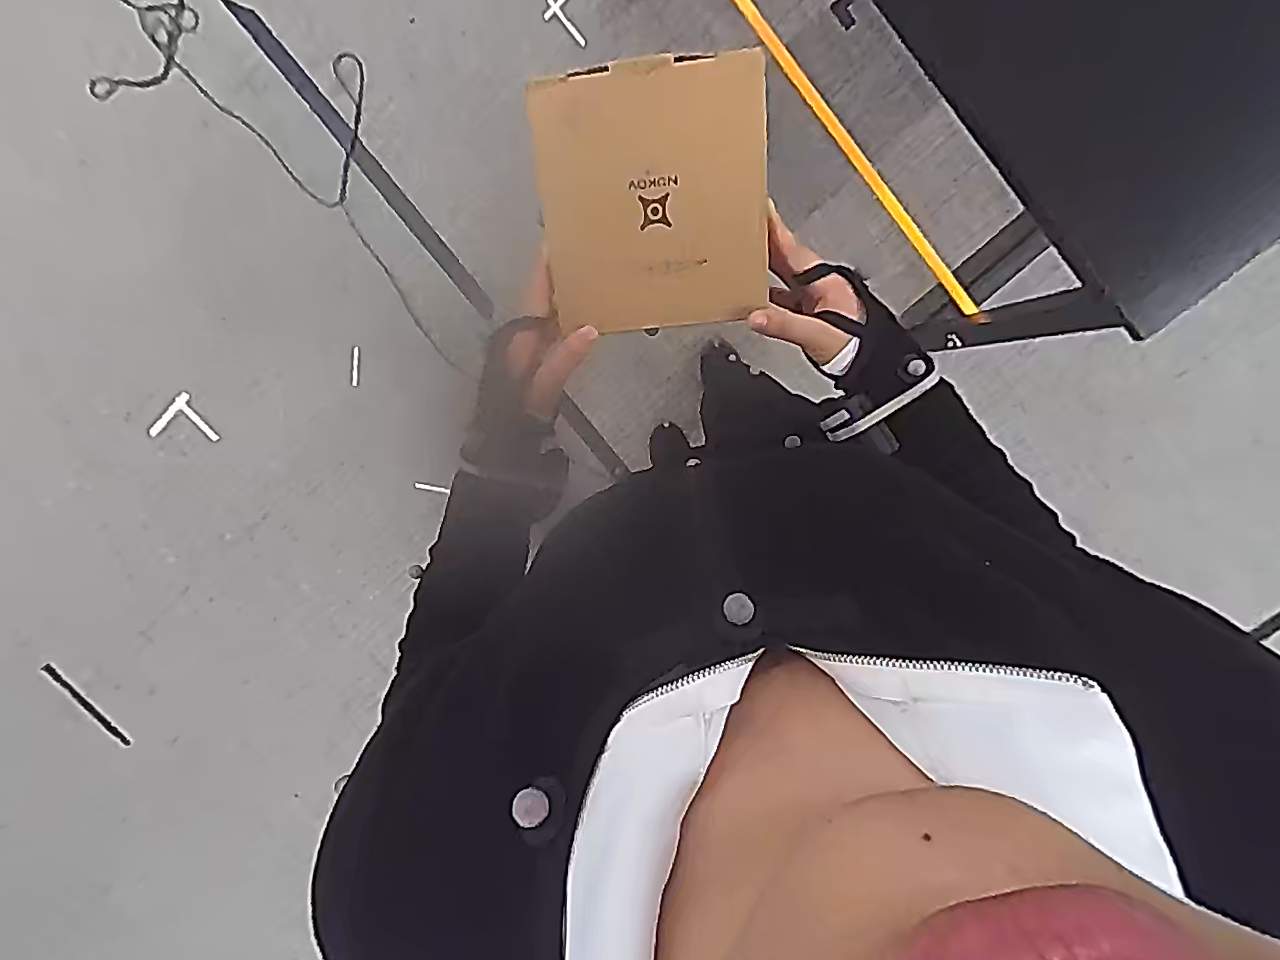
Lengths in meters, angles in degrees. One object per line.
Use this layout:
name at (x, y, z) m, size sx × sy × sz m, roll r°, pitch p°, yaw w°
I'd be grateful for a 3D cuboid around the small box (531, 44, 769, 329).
small box at (0.013, -0.234, 0.469) m, size 0.168 × 0.176 × 0.179 m, roll -5°, pitch 111°, yaw 4°
